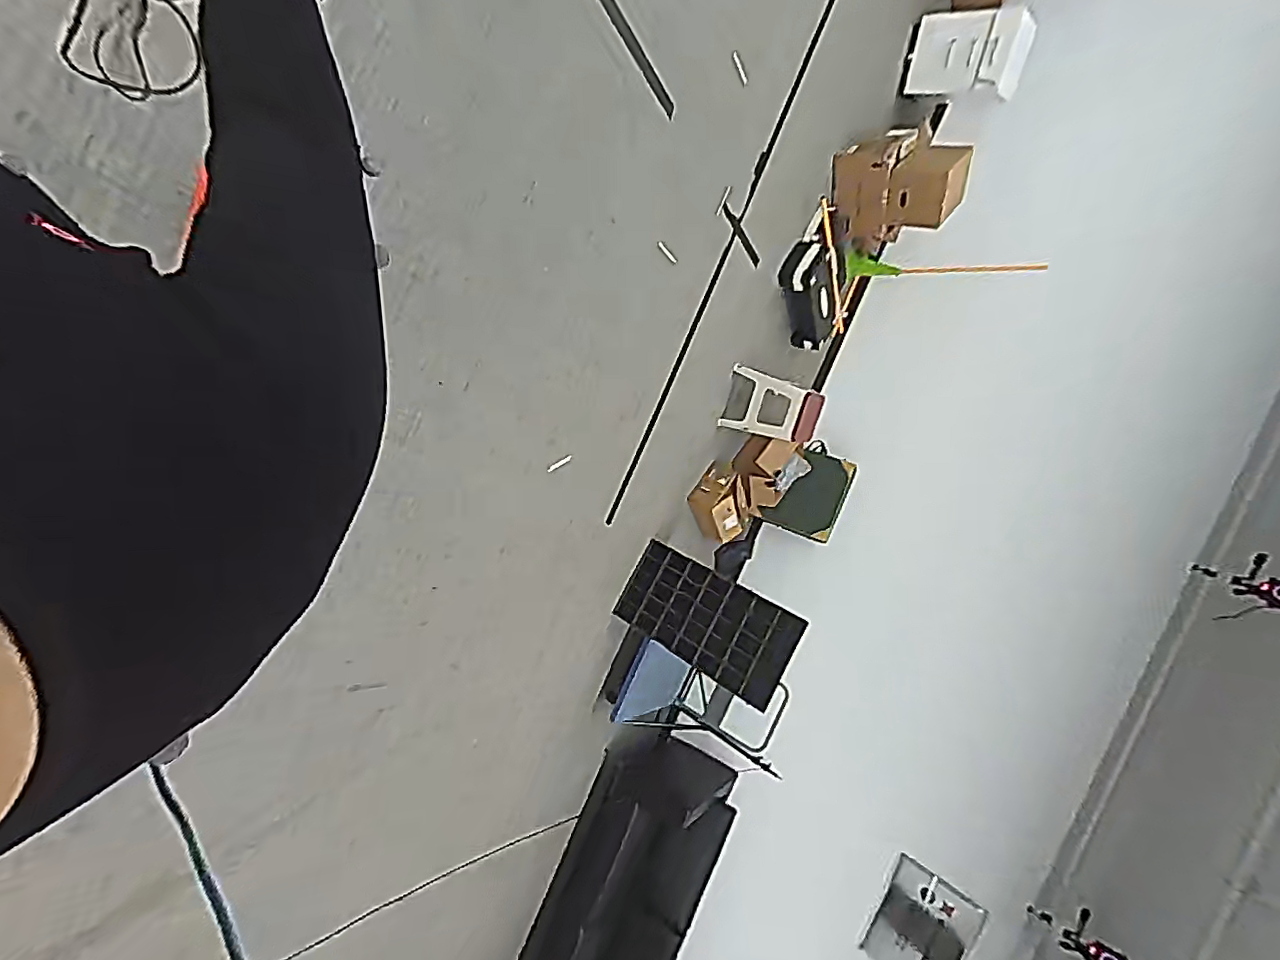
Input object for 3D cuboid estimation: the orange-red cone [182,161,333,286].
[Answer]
[{"bbox_3d":[-0.714,-0.483,1.079,0.199,0.360,0.198,12,102,-59],"label":"orange-red cone"}]
